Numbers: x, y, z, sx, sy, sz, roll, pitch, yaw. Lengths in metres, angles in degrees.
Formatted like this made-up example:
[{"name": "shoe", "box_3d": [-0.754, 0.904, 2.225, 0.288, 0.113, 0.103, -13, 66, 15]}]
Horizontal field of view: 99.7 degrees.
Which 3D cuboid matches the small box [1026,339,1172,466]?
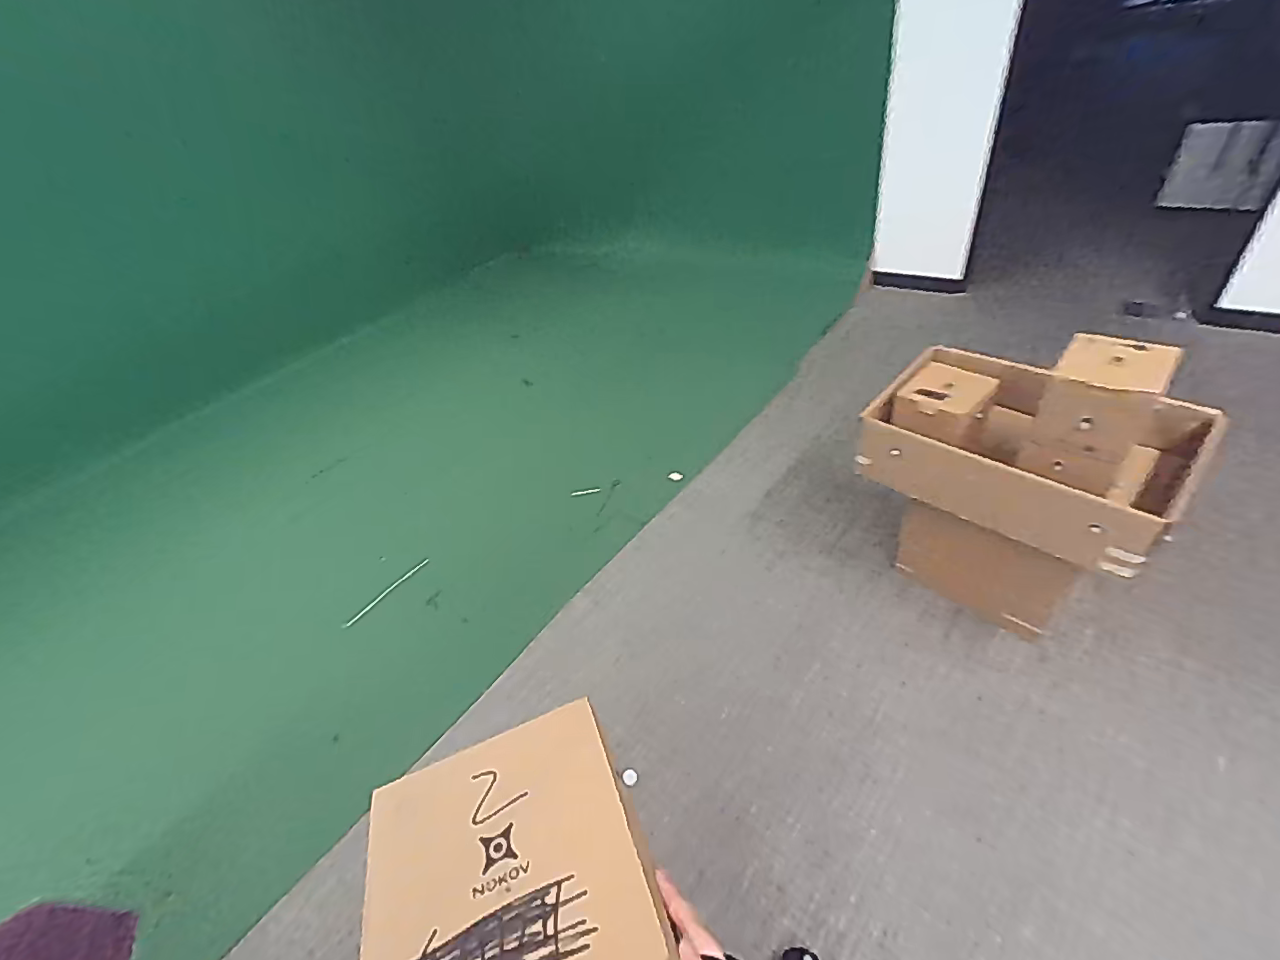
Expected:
[{"name": "small box", "box_3d": [0.915, -0.157, 1.093, 0.168, 0.176, 0.179, 27, 57, 36]}]
